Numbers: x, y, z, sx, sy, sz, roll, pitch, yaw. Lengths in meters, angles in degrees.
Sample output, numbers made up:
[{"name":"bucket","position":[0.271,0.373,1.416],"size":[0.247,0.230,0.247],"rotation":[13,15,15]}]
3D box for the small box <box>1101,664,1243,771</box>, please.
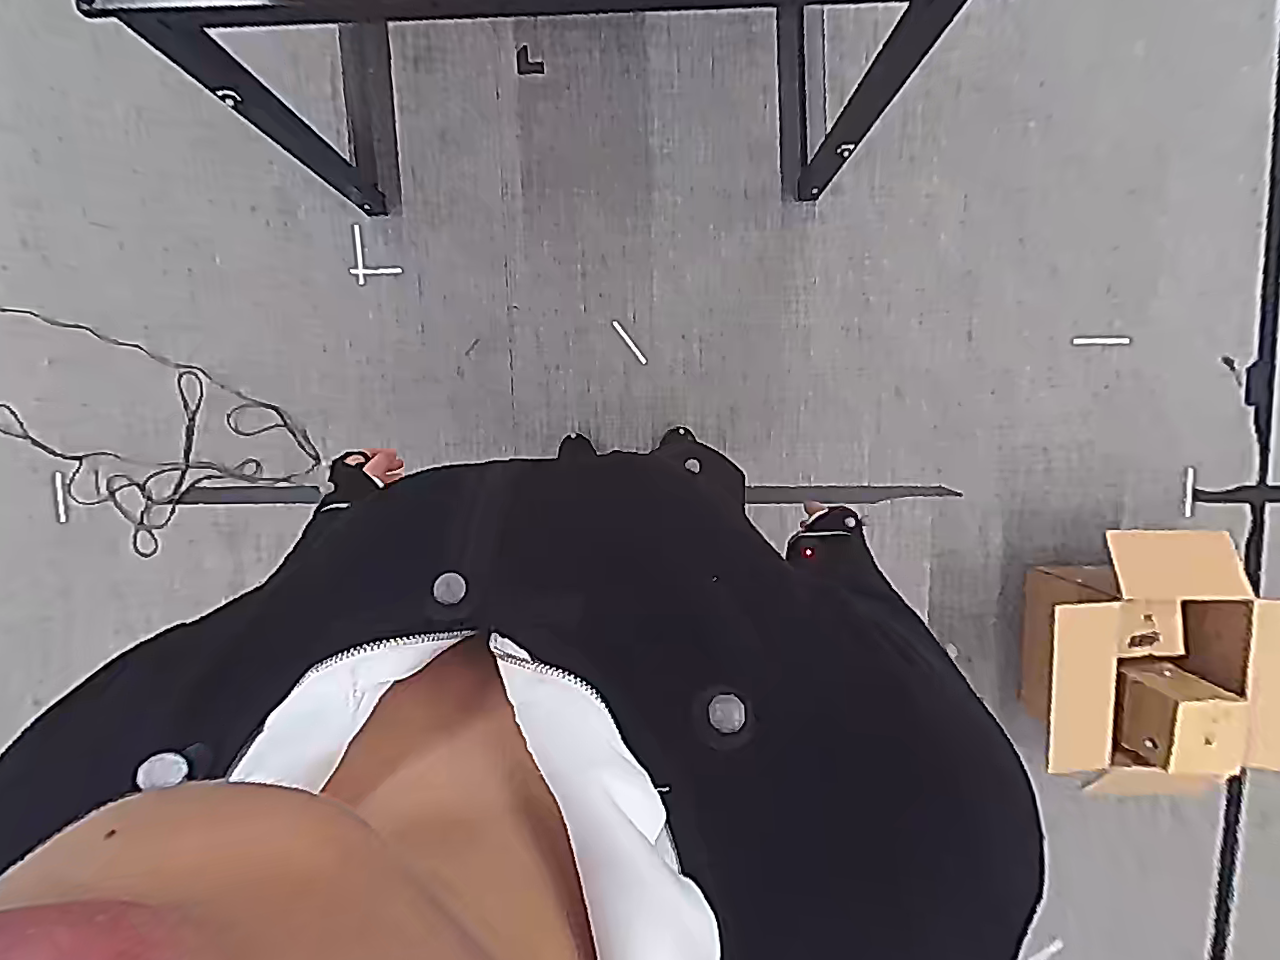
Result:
[{"name":"small box","position":[1.249,0.558,1.282],"size":[0.168,0.176,0.179],"rotation":[1,96,-1]}]
